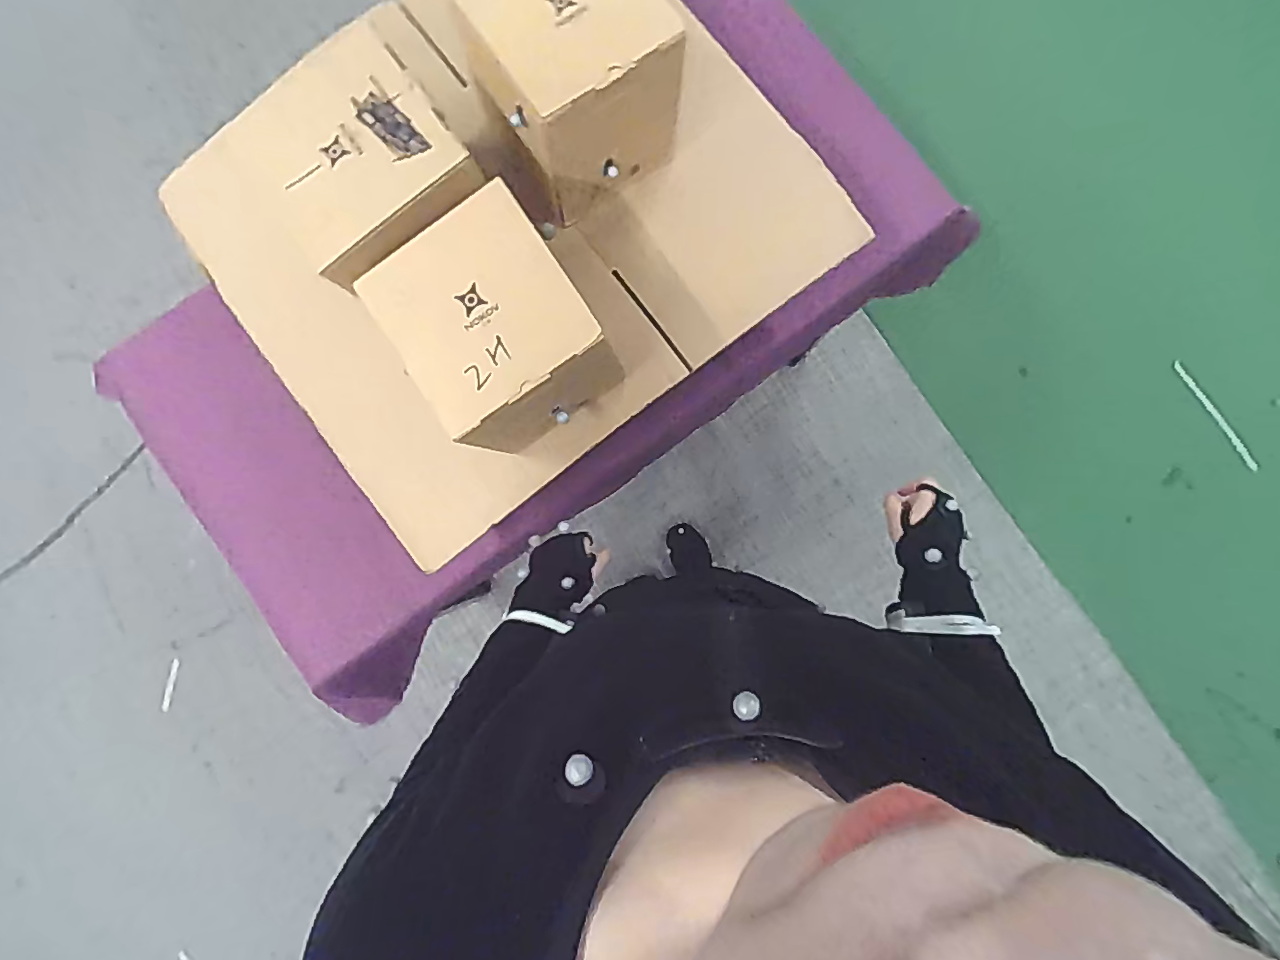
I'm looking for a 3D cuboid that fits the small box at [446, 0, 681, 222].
[{"bbox_3d":[-0.077,-0.430,0.592,0.168,0.176,0.179,-35,86,-5],"label":"small box"}]
